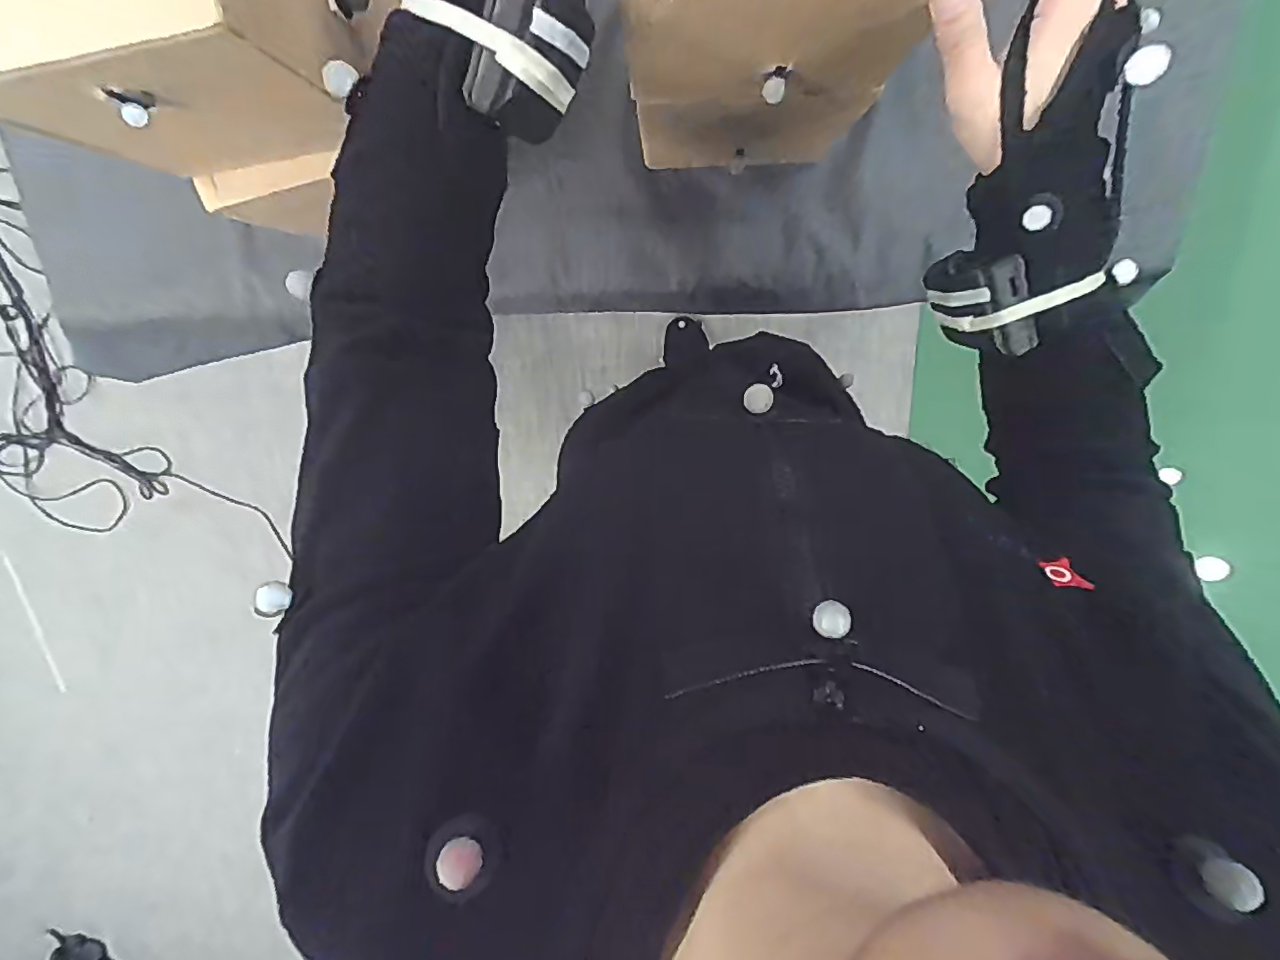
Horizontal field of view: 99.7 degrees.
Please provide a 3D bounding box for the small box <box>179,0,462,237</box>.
[{"bbox_3d":[-0.279,-0.330,0.467,0.168,0.176,0.179,-11,106,6],"label":"small box"}]

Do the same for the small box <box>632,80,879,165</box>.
[{"bbox_3d":[0.082,-0.369,0.438,0.179,0.176,0.168,-1,106,3],"label":"small box"}]

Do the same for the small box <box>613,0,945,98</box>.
[{"bbox_3d":[0.070,-0.324,0.276,0.179,0.176,0.168,0,107,3],"label":"small box"}]

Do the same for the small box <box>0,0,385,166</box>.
[{"bbox_3d":[-0.284,-0.299,0.307,0.179,0.176,0.168,-7,107,4],"label":"small box"}]
